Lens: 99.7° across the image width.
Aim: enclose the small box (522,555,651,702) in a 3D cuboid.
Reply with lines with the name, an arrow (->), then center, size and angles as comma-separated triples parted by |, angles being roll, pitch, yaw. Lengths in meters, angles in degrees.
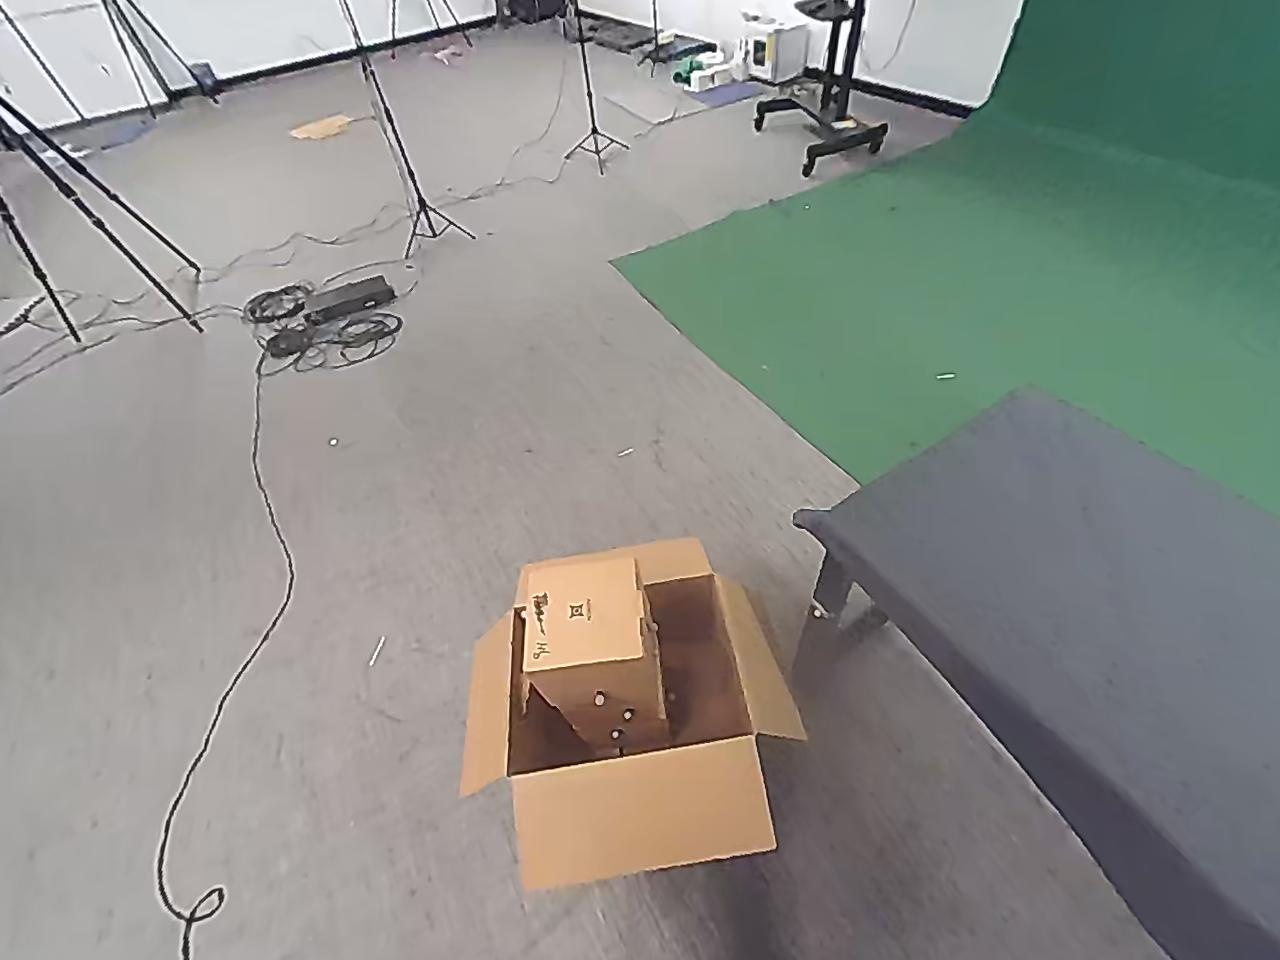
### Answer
small box -> -0.076, 0.241, 0.864 | 0.179, 0.176, 0.168 | -7, 50, 2
